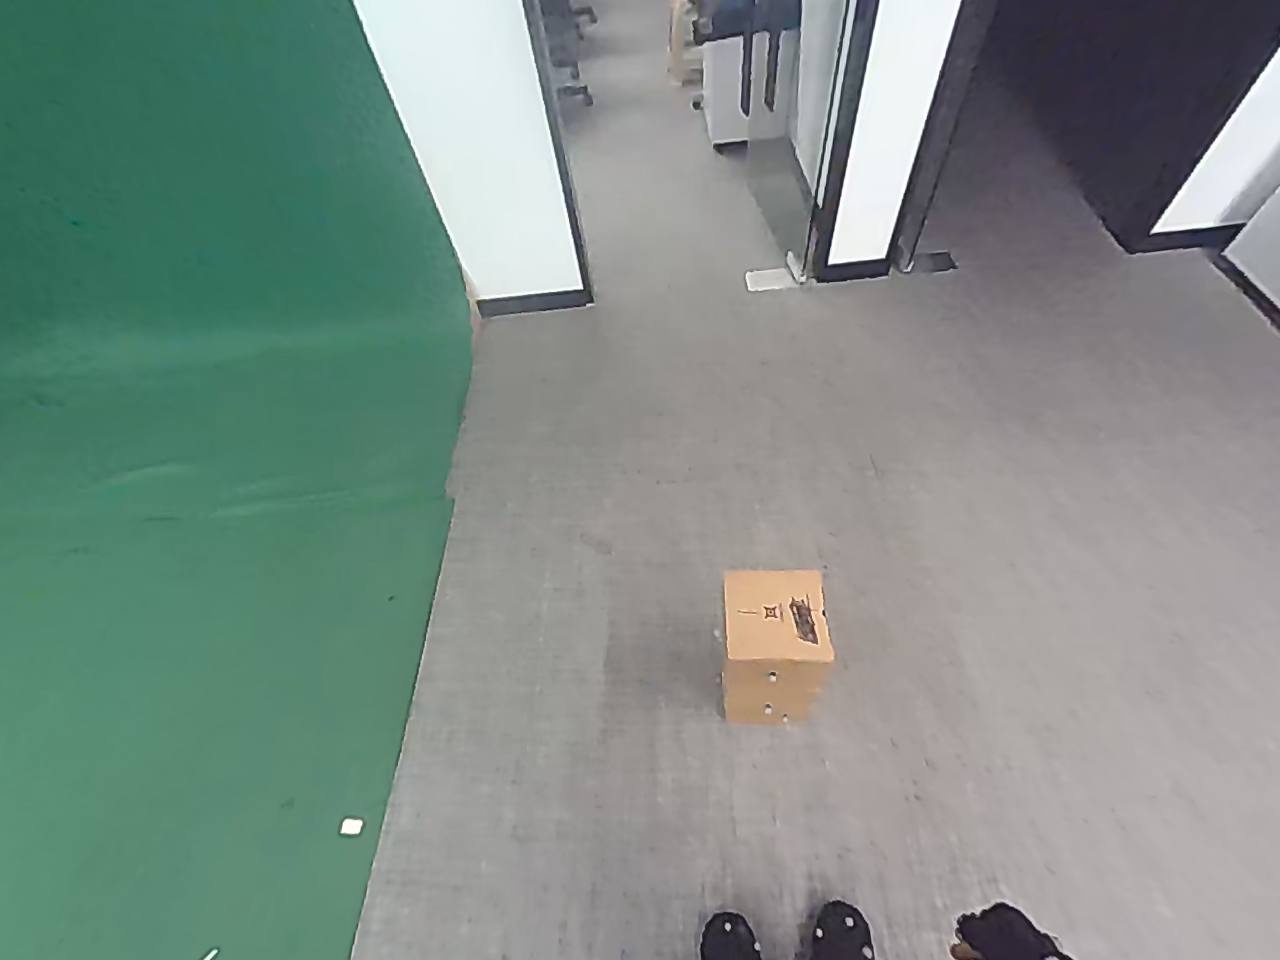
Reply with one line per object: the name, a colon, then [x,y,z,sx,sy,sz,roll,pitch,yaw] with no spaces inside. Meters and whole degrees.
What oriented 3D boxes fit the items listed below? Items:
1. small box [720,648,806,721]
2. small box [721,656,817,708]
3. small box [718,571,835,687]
small box: [0.281,0.465,1.278,0.179,0.176,0.168,-4,54,6]
small box: [0.263,0.376,1.142,0.179,0.176,0.168,1,55,7]
small box: [0.243,0.280,1.009,0.179,0.176,0.168,-3,55,4]
